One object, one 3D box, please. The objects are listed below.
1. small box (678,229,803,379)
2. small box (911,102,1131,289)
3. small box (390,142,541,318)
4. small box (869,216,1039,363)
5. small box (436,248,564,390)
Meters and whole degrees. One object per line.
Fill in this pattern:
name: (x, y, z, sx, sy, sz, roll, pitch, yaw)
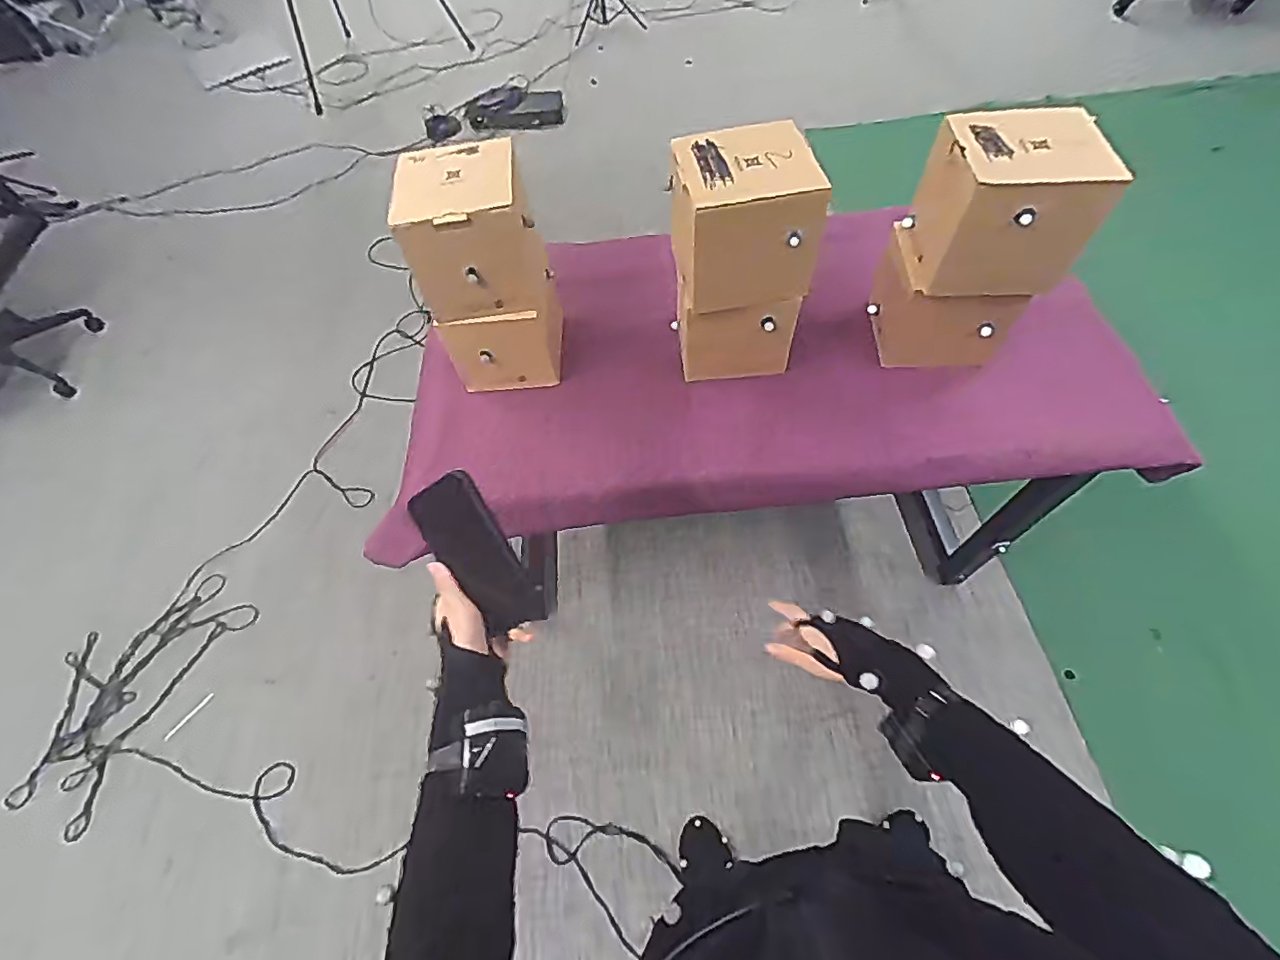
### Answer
small box: (0.158, -0.289, 0.909, 0.179, 0.176, 0.168, -5, 59, 3)
small box: (0.491, -0.379, 0.738, 0.179, 0.176, 0.168, 0, 59, 6)
small box: (-0.247, -0.362, 0.806, 0.168, 0.176, 0.179, -9, 59, 0)
small box: (0.497, -0.307, 0.886, 0.179, 0.176, 0.168, 0, 59, 7)
small box: (-0.231, -0.270, 0.942, 0.168, 0.176, 0.179, -5, 59, 3)
